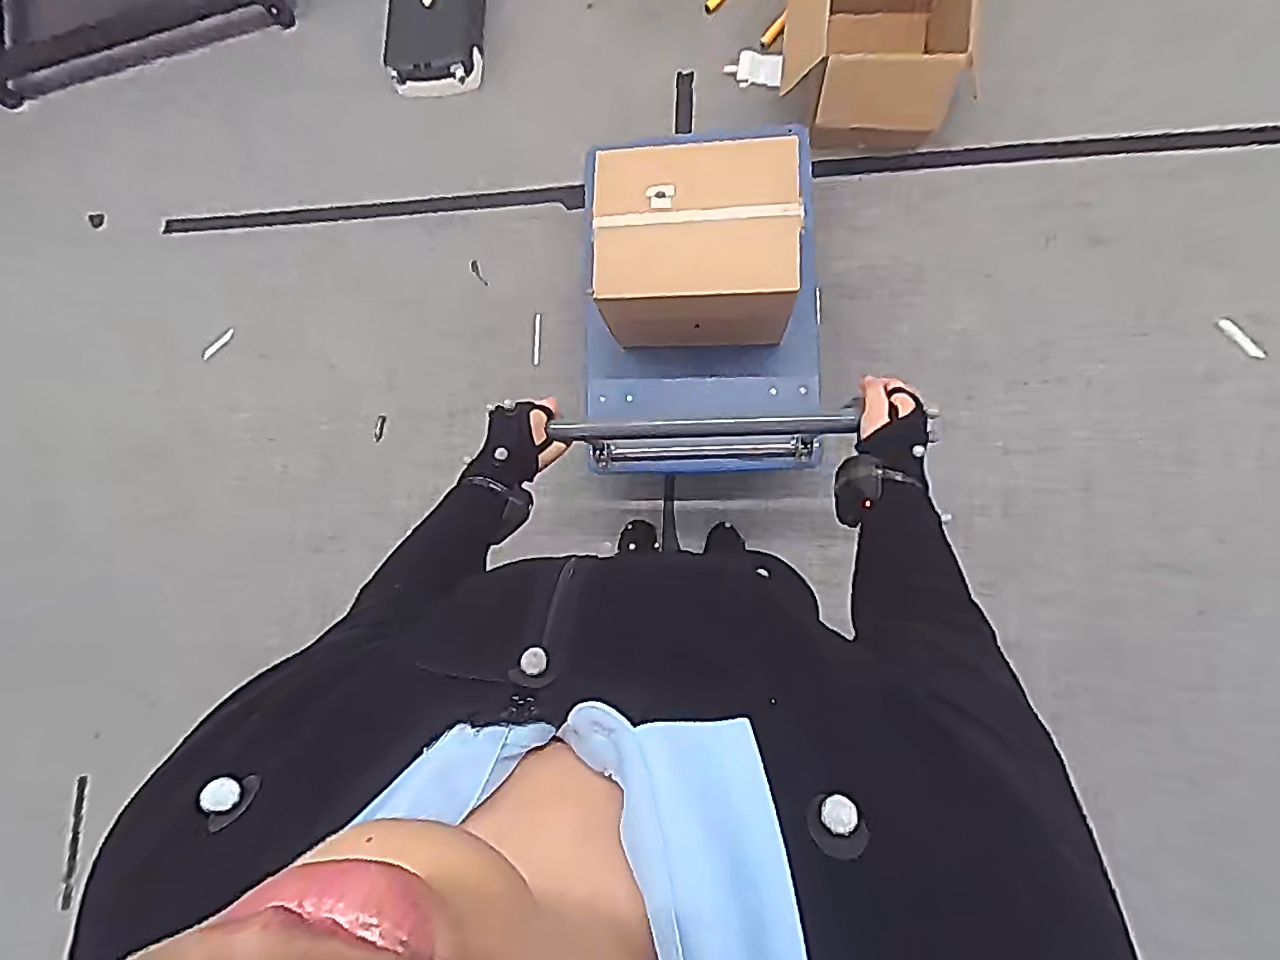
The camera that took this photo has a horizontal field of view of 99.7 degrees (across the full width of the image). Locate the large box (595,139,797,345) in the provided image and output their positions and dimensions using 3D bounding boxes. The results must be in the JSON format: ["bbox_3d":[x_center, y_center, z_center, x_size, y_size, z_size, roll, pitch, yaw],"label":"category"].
[{"bbox_3d":[0.128,-0.507,1.225,0.408,0.320,0.320,0,85,9],"label":"large box"}]
